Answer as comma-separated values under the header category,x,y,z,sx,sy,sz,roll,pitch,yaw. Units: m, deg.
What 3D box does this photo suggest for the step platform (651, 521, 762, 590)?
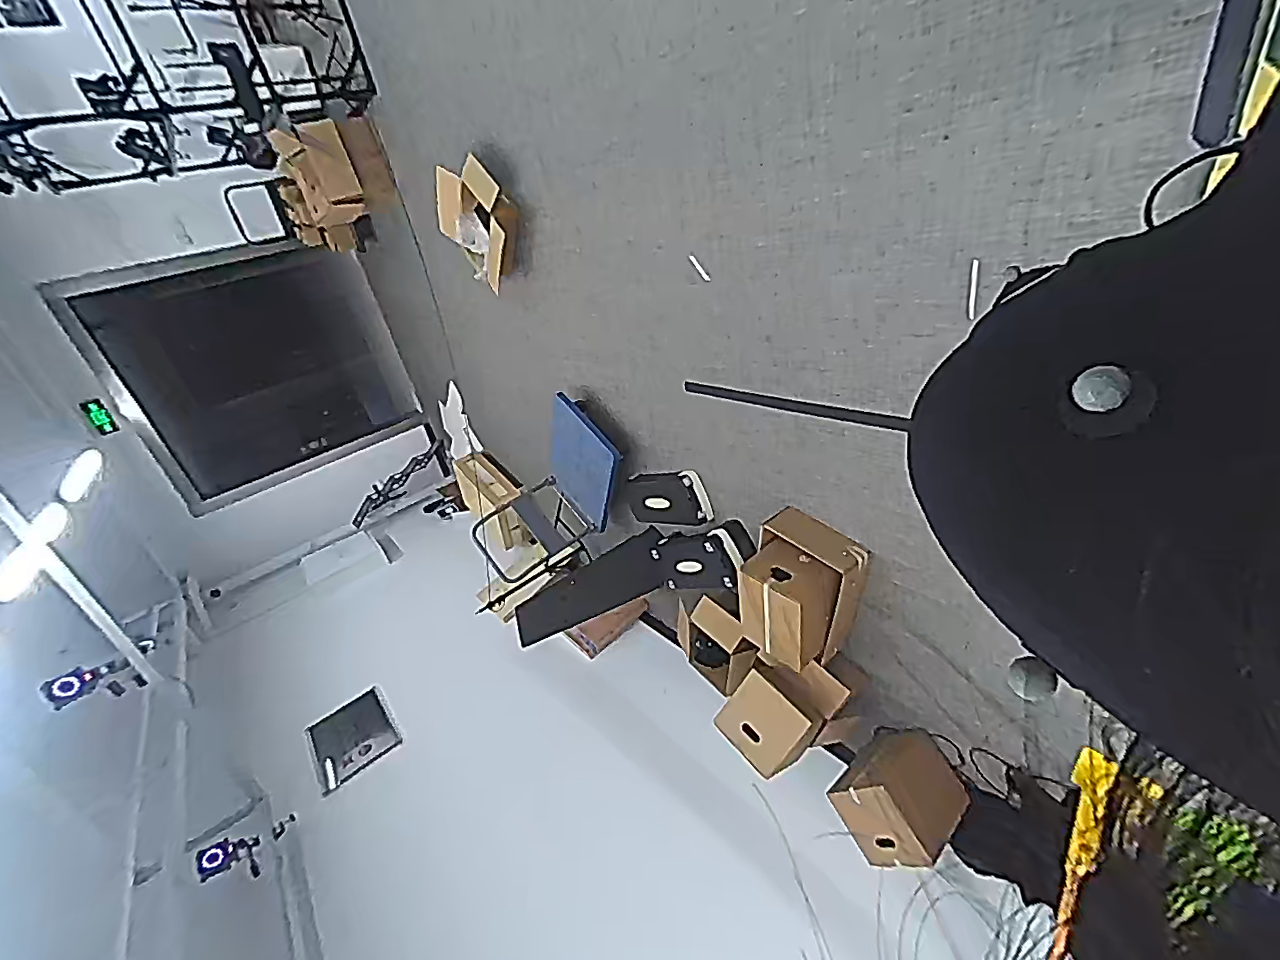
category,x,y,z,sx,sy,sz,roll,pitch,yaw
step platform,0.327,0.419,2.885,0.286,0.204,0.684,61,150,-3
